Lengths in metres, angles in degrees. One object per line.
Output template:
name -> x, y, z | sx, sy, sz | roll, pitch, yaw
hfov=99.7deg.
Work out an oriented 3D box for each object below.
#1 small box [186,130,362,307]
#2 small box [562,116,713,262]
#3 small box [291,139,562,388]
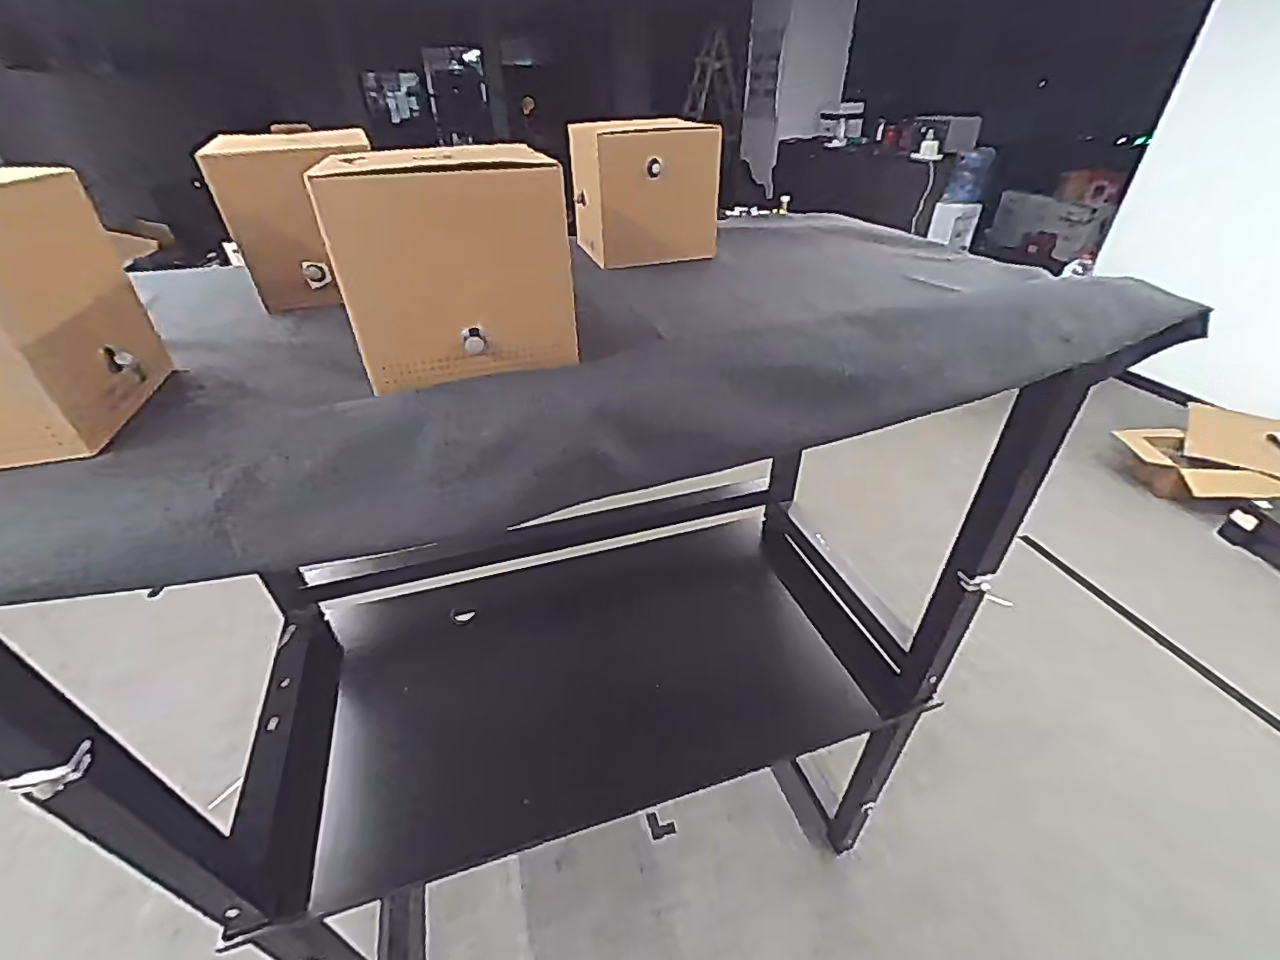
small box -> -0.409, -0.328, 0.670 | 0.168, 0.176, 0.179 | -17, 39, -19
small box -> -0.006, -0.428, 0.793 | 0.179, 0.176, 0.168 | -12, 38, -14
small box -> -0.170, -0.197, 0.480 | 0.179, 0.176, 0.168 | -12, 36, -15
